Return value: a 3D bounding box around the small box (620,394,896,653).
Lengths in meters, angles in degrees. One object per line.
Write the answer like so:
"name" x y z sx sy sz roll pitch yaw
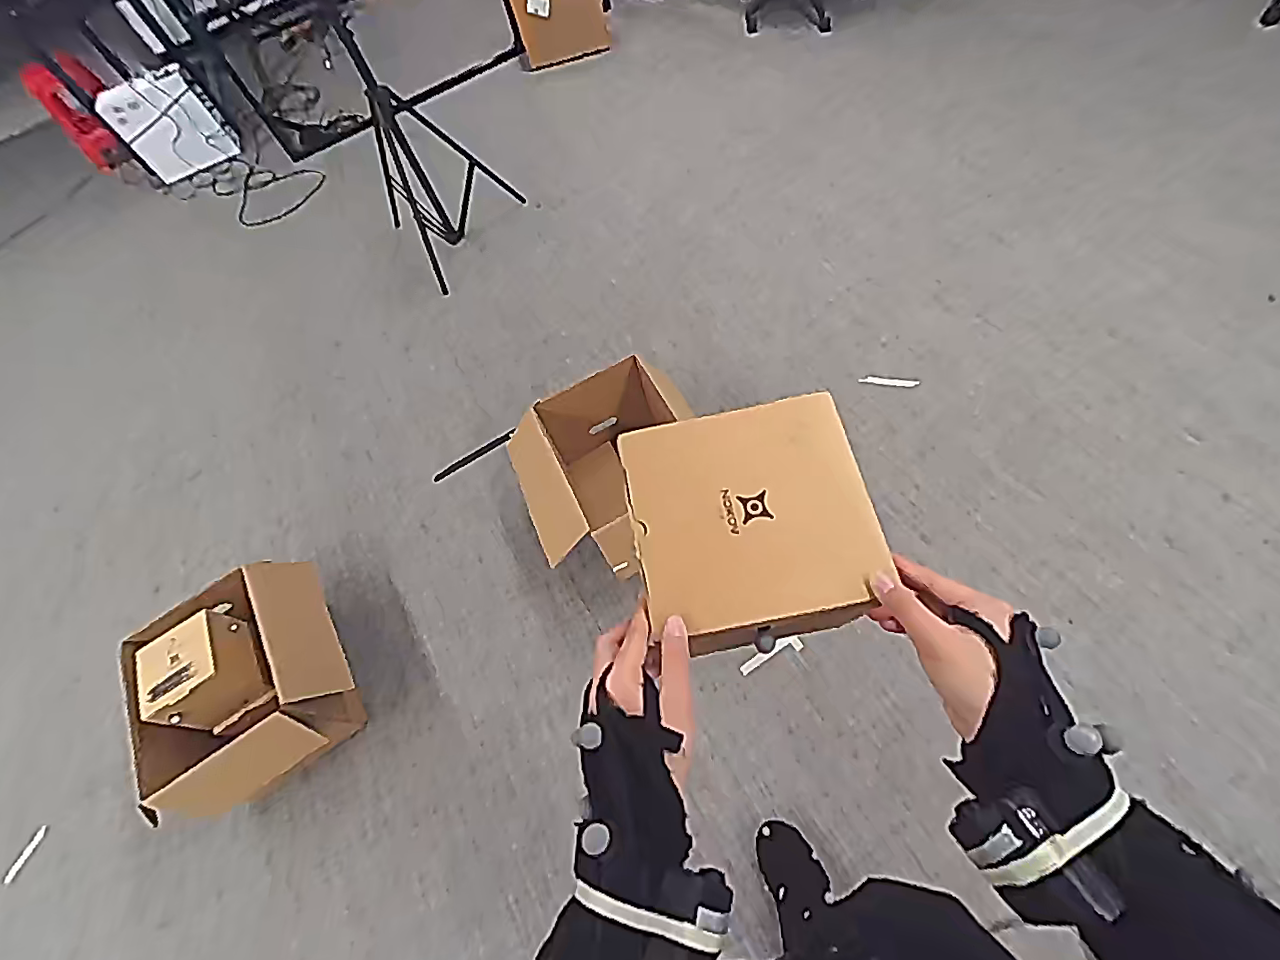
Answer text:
"small box" 0.088 0.050 0.480 0.179 0.176 0.168 -12 67 1
